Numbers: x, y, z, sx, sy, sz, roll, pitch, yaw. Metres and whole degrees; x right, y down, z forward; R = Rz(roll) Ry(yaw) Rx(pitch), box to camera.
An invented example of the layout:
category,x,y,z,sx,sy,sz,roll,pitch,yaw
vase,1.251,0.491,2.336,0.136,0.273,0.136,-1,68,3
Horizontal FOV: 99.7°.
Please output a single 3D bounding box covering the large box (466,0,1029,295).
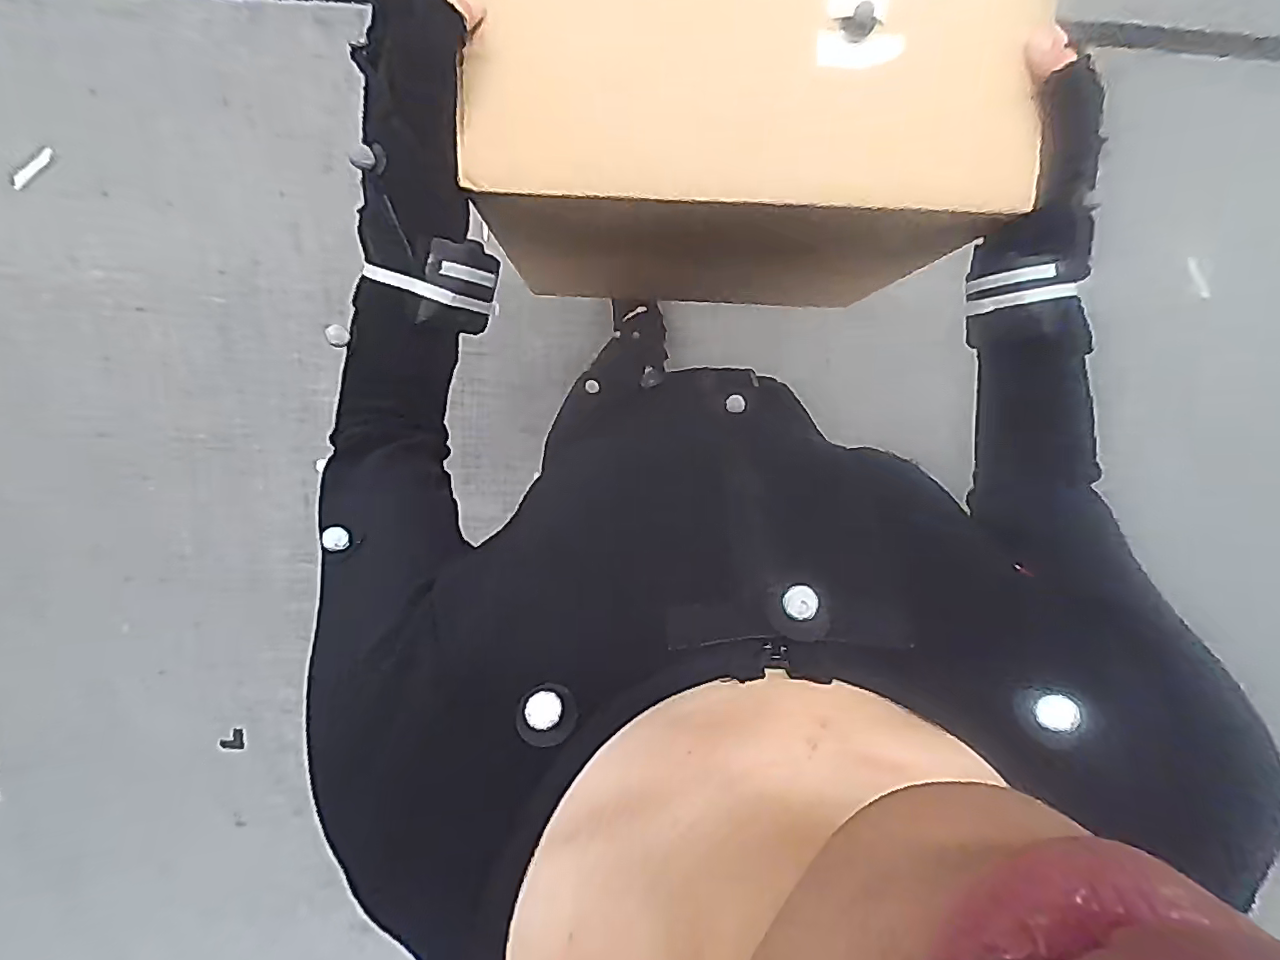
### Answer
category,x,y,z,sx,sy,sz,roll,pitch,yaw
large box,0.070,-0.375,0.523,0.408,0.320,0.320,1,95,-3
